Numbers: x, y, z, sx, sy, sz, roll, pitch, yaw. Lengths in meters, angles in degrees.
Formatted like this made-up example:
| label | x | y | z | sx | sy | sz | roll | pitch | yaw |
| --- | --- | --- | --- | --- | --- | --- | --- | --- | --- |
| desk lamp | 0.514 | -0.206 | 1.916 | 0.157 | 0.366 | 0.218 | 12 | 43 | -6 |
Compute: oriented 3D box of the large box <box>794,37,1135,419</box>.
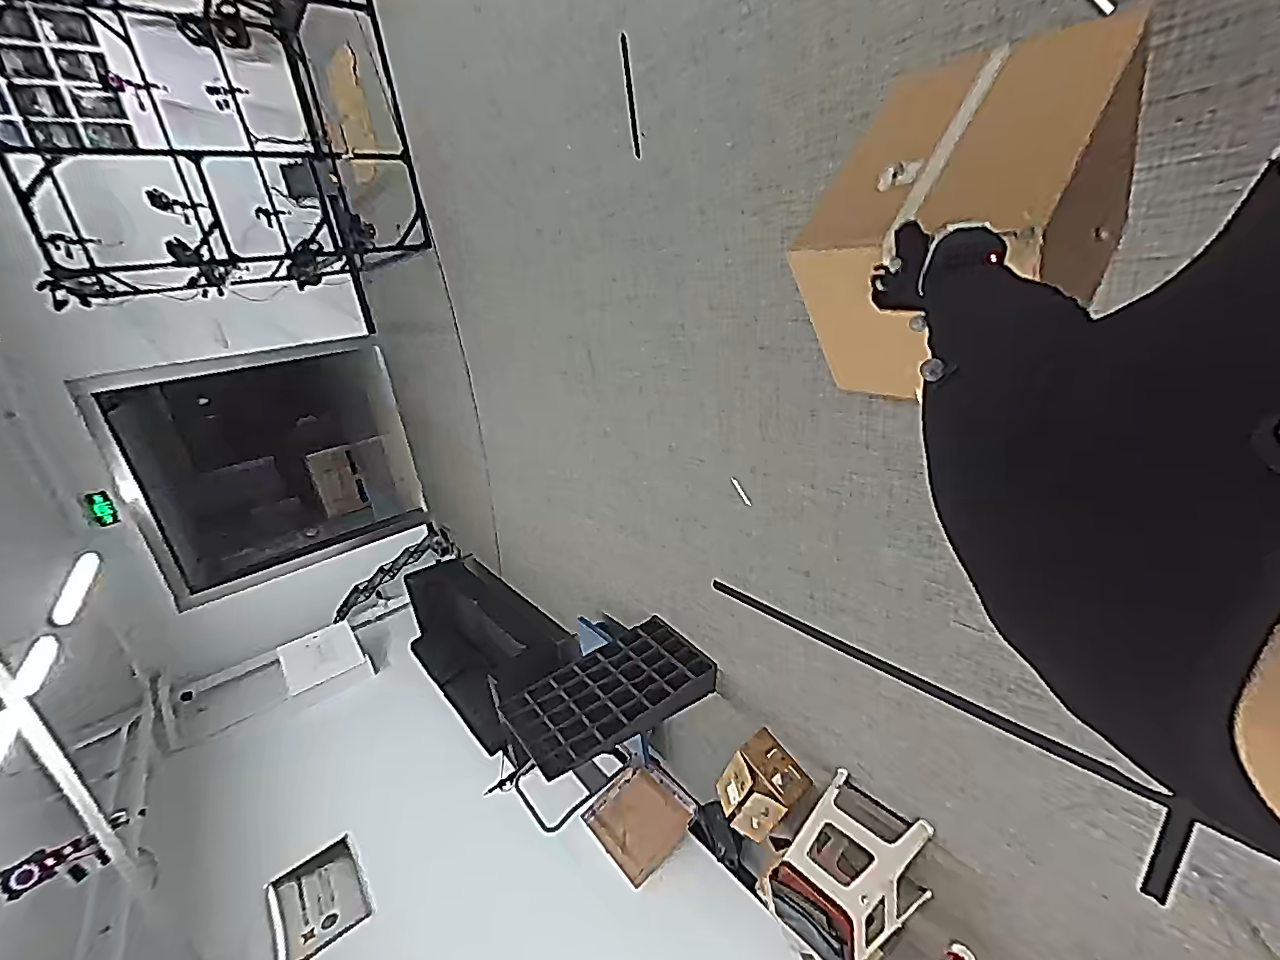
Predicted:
| label | x | y | z | sx | sy | sz | roll | pitch | yaw |
| --- | --- | --- | --- | --- | --- | --- | --- | --- | --- |
| large box | 0.504 | -0.359 | 0.840 | 0.320 | 0.408 | 0.320 | 17 | 158 | 45 |
